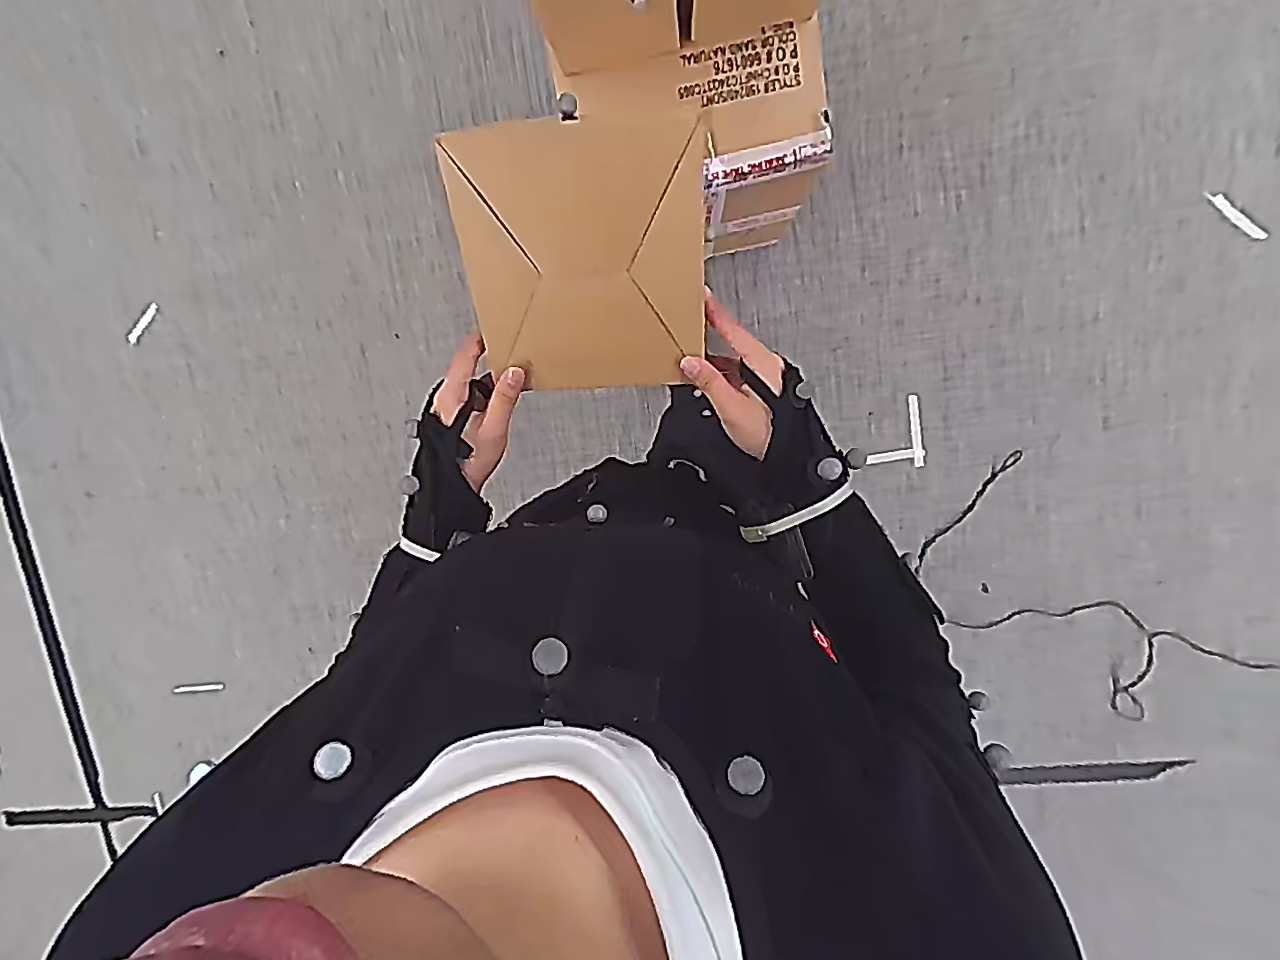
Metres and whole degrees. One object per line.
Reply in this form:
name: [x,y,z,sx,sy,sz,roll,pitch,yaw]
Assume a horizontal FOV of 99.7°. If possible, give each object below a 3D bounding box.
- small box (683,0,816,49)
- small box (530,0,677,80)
small box: [0.141,-0.693,0.680,0.179,0.176,0.168,-8,99,5]
small box: [-0.047,-0.663,0.698,0.179,0.176,0.168,-6,98,8]
